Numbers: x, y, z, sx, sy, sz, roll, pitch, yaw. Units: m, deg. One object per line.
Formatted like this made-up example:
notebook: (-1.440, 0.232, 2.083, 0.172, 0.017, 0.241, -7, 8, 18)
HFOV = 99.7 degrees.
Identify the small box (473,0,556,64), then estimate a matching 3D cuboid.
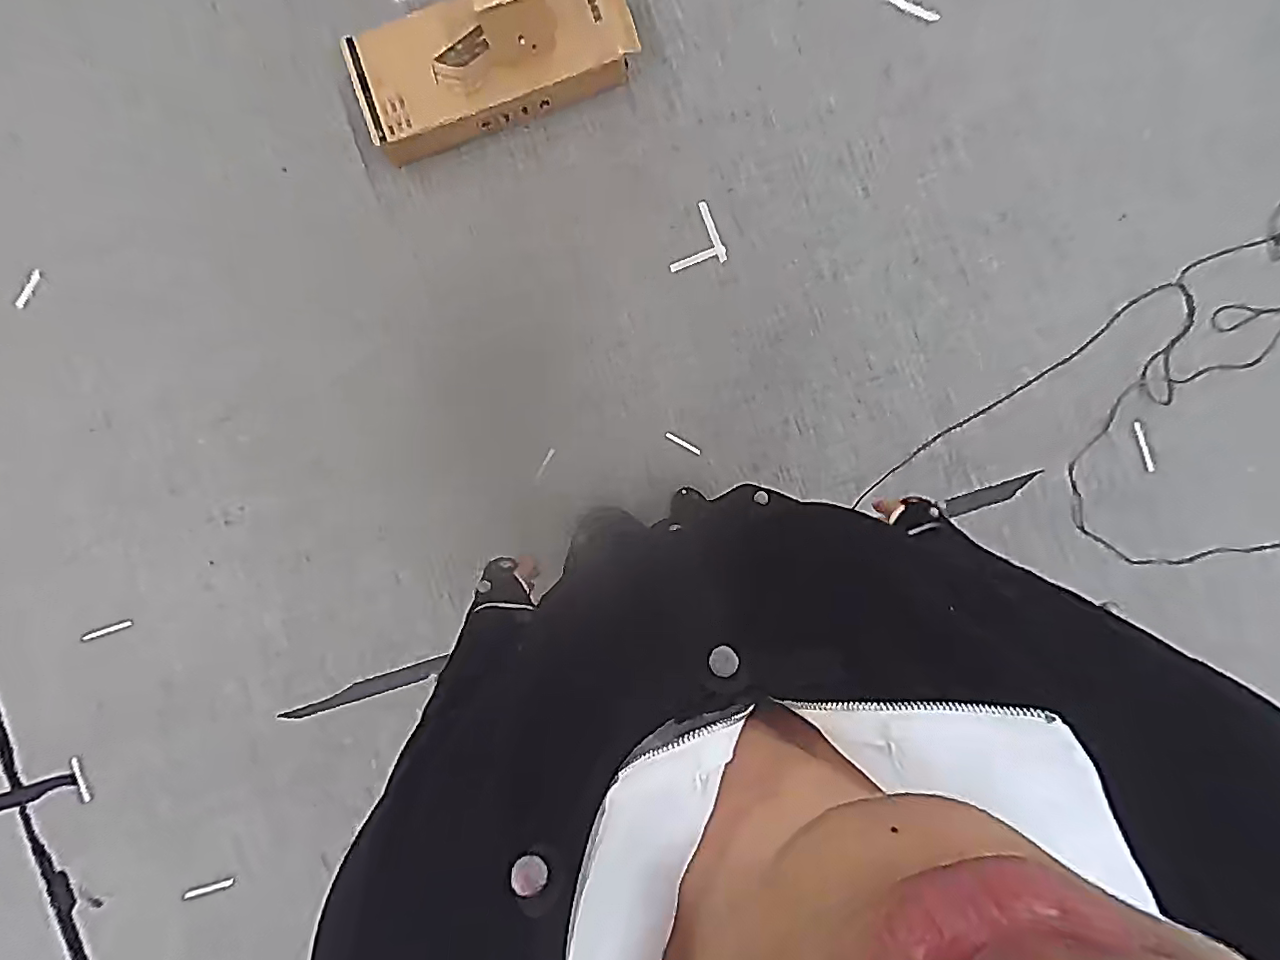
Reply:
small box: (-0.320, -1.175, 1.311, 0.168, 0.176, 0.179, -20, 89, 3)
